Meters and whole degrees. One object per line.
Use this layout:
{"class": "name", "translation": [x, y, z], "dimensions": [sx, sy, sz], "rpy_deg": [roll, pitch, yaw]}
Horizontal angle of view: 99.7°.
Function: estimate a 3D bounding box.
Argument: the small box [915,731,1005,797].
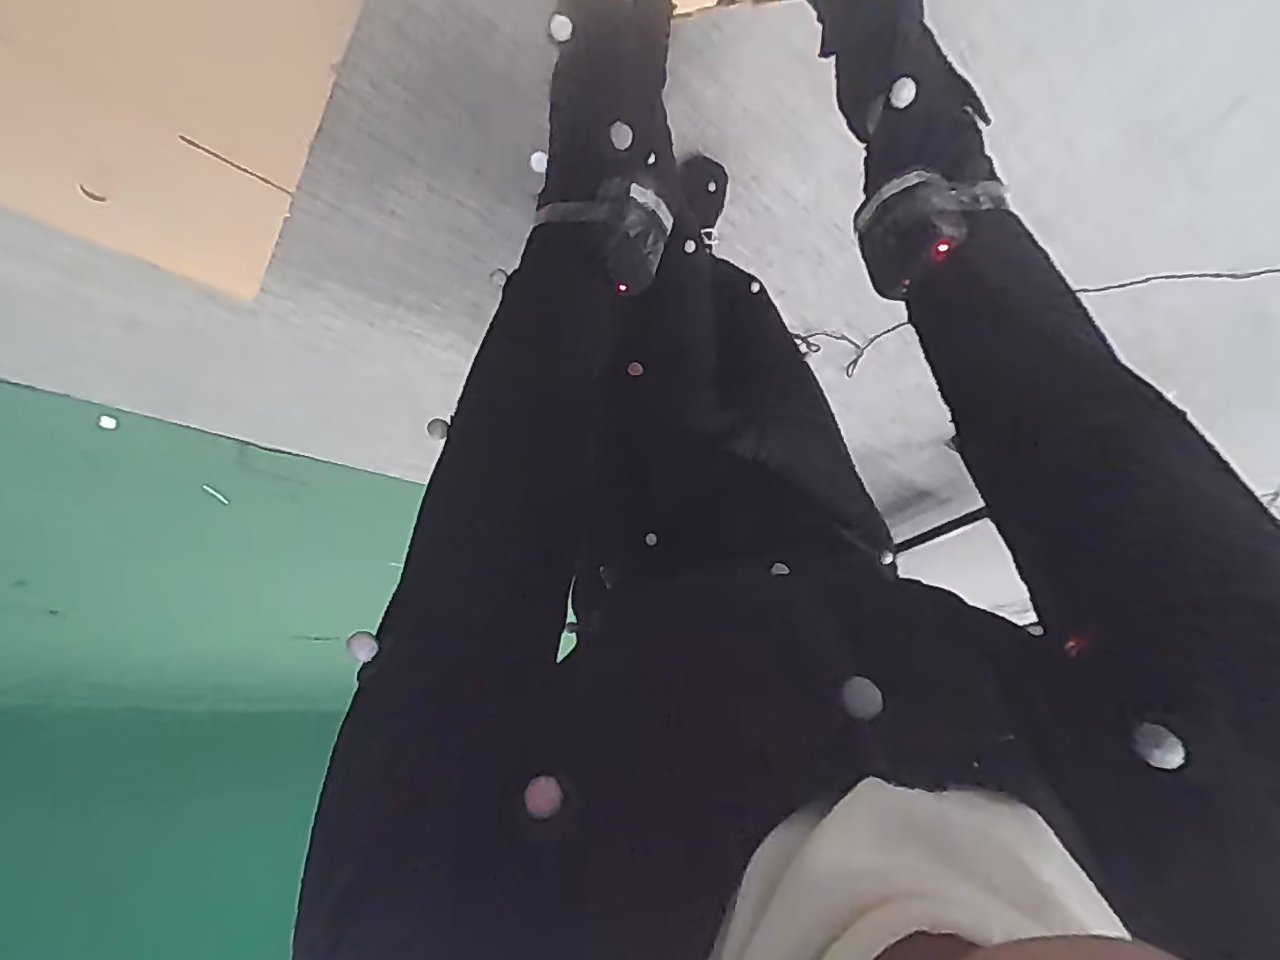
{"class": "small box", "translation": [1.066, 0.944, 1.811], "dimensions": [0.168, 0.176, 0.179], "rpy_deg": [13, 143, -35]}
